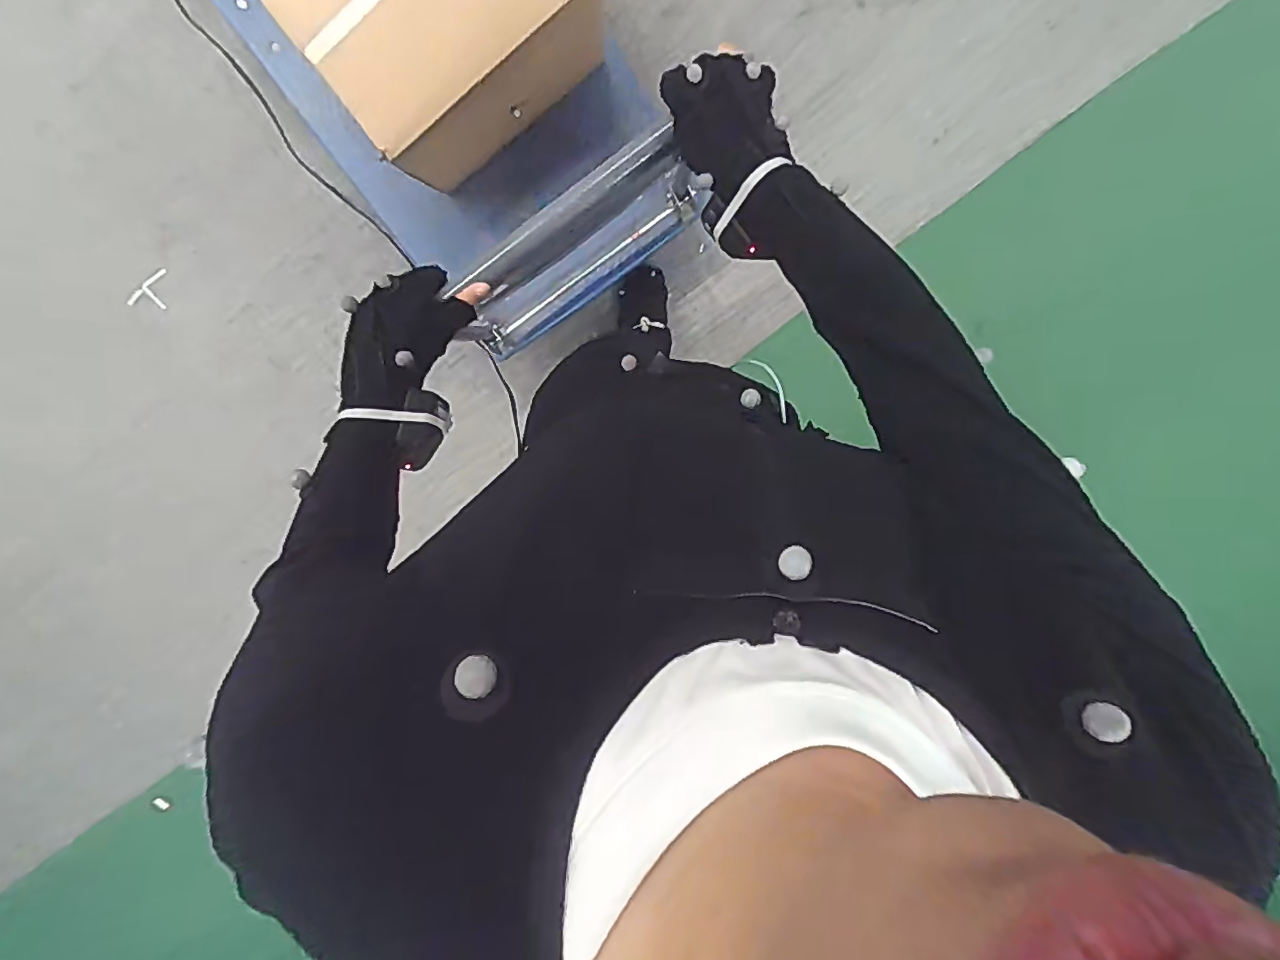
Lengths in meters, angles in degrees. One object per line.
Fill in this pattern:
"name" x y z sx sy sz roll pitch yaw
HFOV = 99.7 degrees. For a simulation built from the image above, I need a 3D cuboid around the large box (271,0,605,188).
"large box" -0.306 -0.768 0.891 0.408 0.320 0.320 -35 107 11
